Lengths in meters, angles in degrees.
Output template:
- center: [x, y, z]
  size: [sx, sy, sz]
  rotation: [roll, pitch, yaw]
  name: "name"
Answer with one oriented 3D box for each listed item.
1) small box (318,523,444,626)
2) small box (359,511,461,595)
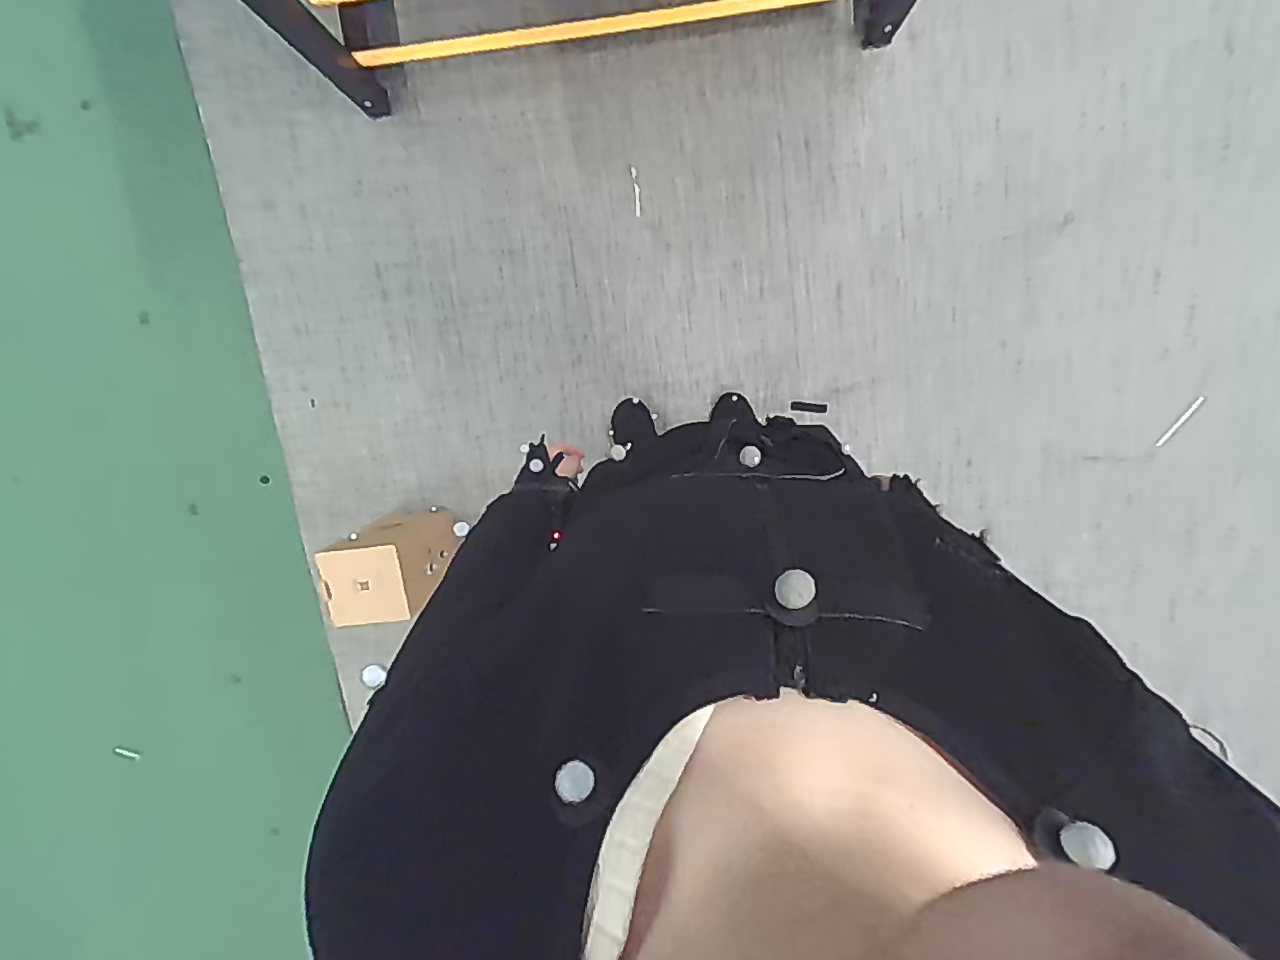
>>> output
- center: [-0.557, 0.201, 1.185]
  size: [0.179, 0.176, 0.168]
  rotation: [-8, 101, 4]
  name: "small box"
- center: [-0.563, 0.179, 1.347]
  size: [0.168, 0.176, 0.179]
  rotation: [-5, 100, 4]
  name: "small box"
